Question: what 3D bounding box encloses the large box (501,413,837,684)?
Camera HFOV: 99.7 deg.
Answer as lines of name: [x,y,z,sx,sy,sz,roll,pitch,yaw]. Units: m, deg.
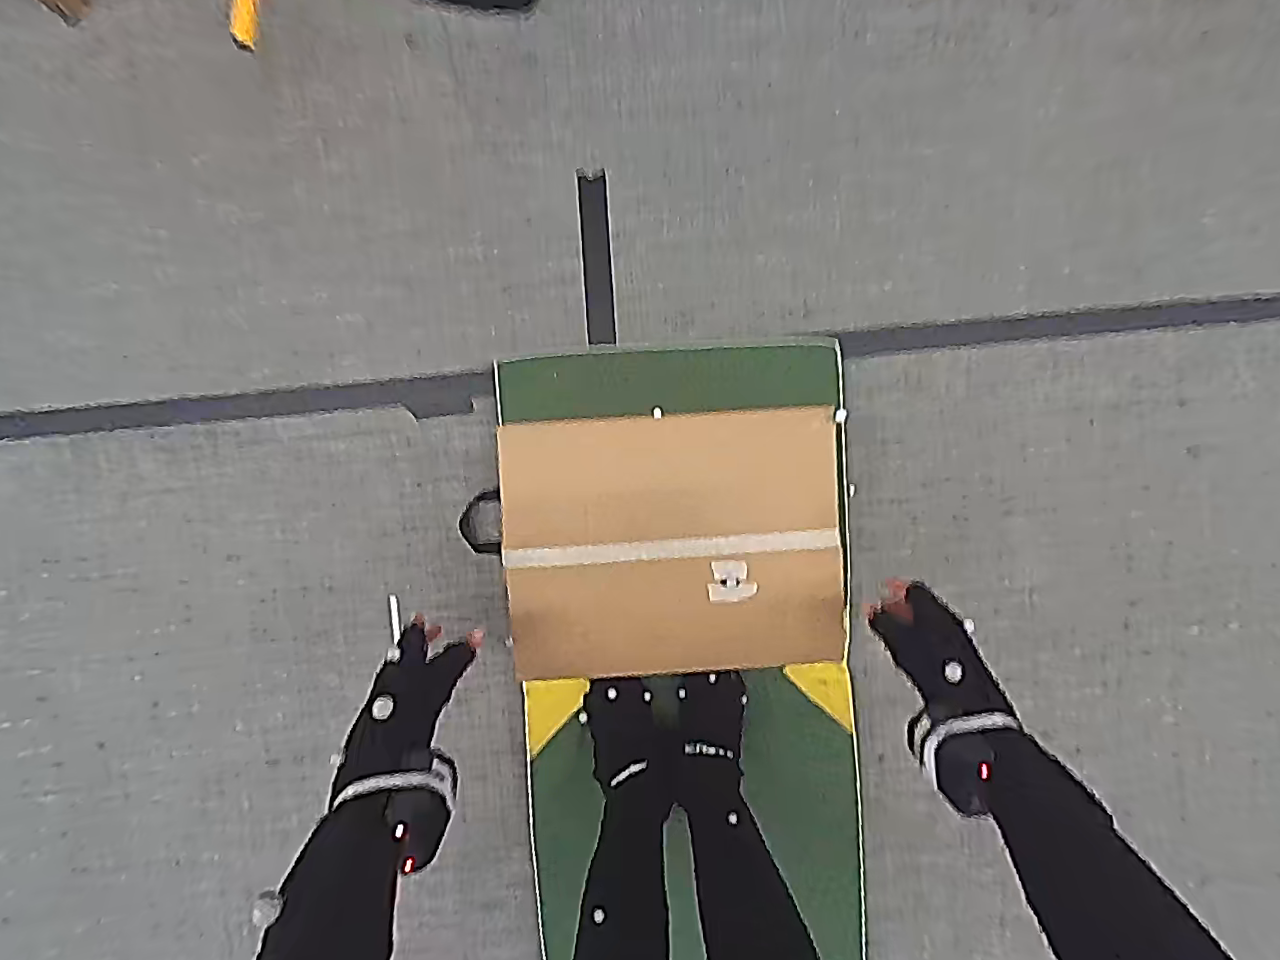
large box: [0.033,0.079,0.815,0.408,0.320,0.320,-4,93,-2]
